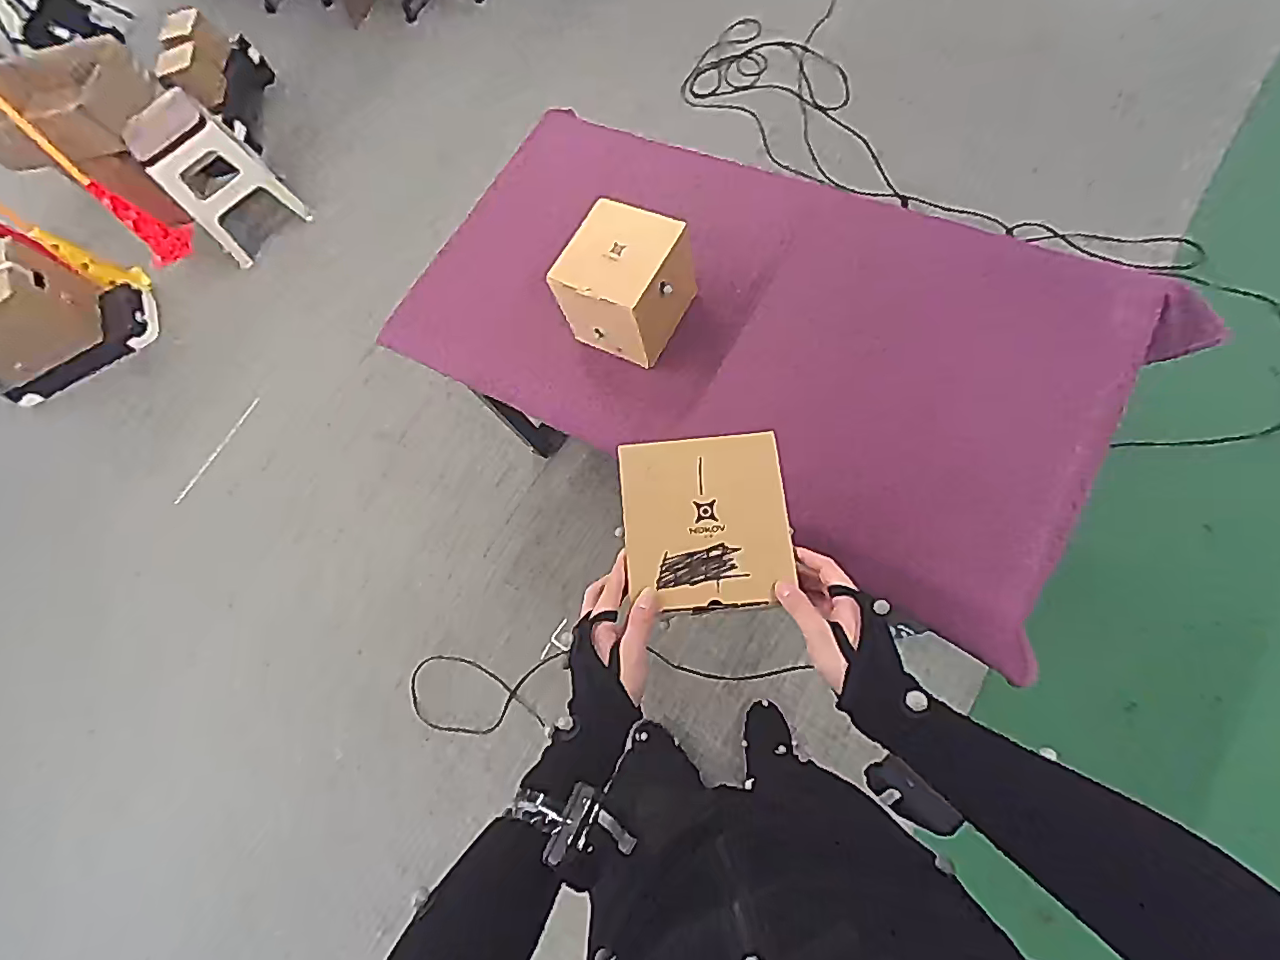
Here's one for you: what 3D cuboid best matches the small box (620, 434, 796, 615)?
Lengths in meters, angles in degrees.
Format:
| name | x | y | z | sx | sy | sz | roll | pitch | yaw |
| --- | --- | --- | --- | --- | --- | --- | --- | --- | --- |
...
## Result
| name | x | y | z | sx | sy | sz | roll | pitch | yaw |
| --- | --- | --- | --- | --- | --- | --- | --- | --- | --- |
| small box | 0.069 | 0.061 | 0.617 | 0.168 | 0.176 | 0.179 | -4 | 73 | 1 |

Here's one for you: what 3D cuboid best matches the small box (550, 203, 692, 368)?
| name | x | y | z | sx | sy | sz | roll | pitch | yaw |
| --- | --- | --- | --- | --- | --- | --- | --- | --- | --- |
| small box | -0.021 | -0.326 | 0.924 | 0.168 | 0.176 | 0.179 | 26 | 78 | 19 |
